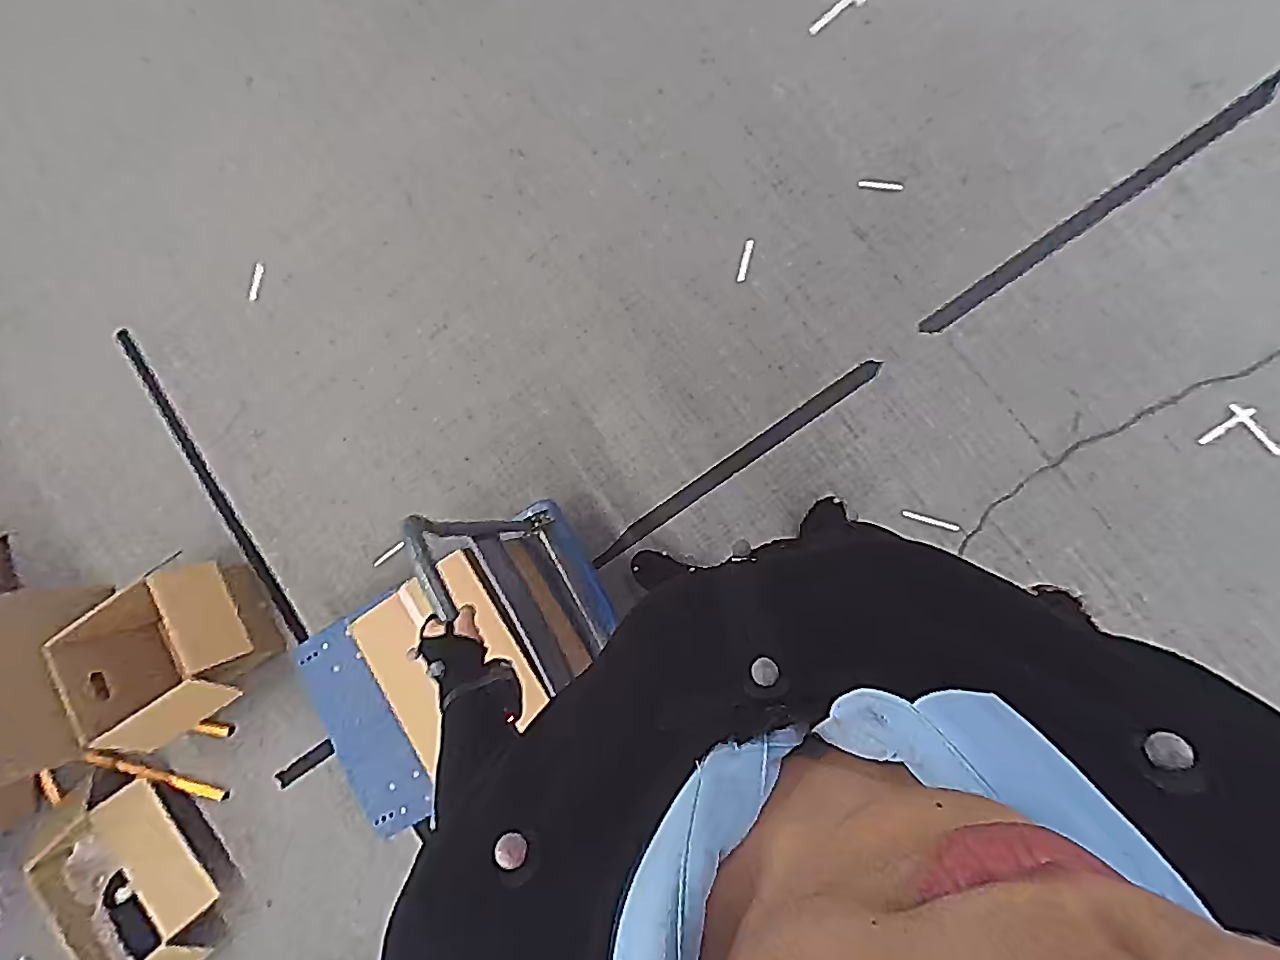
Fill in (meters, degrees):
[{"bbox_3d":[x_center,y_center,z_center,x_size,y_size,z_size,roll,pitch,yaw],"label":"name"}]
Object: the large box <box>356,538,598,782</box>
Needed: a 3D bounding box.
[{"bbox_3d":[-0.359,0.391,1.273,0.320,0.320,0.408,-34,82,7],"label":"large box"}]
